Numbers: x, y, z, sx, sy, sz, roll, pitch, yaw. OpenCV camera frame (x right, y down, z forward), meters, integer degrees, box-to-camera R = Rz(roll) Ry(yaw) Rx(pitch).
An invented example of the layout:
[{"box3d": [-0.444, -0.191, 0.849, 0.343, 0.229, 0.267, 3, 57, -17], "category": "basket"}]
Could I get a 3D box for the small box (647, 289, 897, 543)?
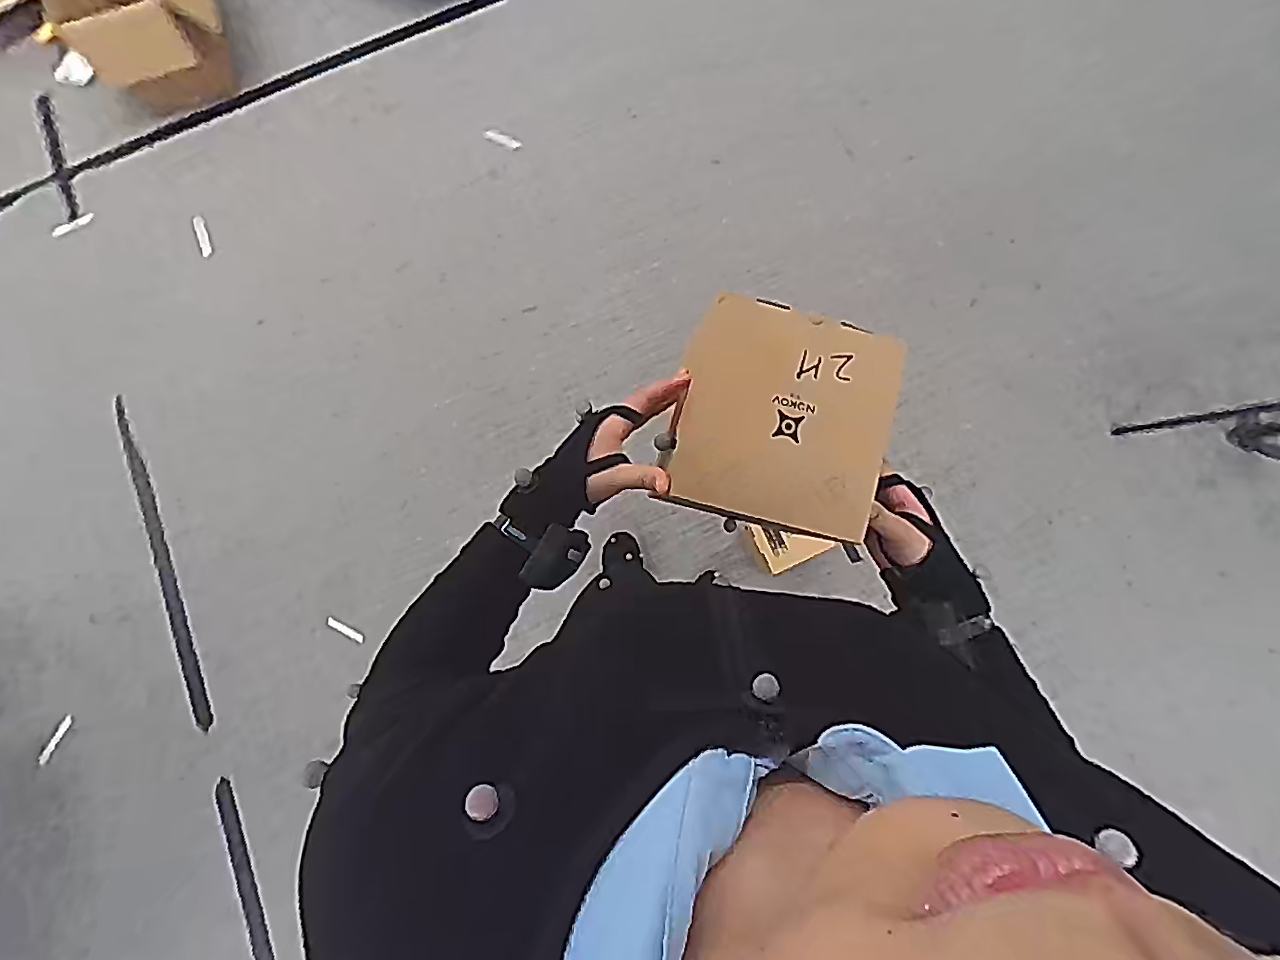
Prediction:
[{"box3d": [0.107, -0.048, 0.513, 0.168, 0.176, 0.179, 13, 86, -5], "category": "small box"}]
